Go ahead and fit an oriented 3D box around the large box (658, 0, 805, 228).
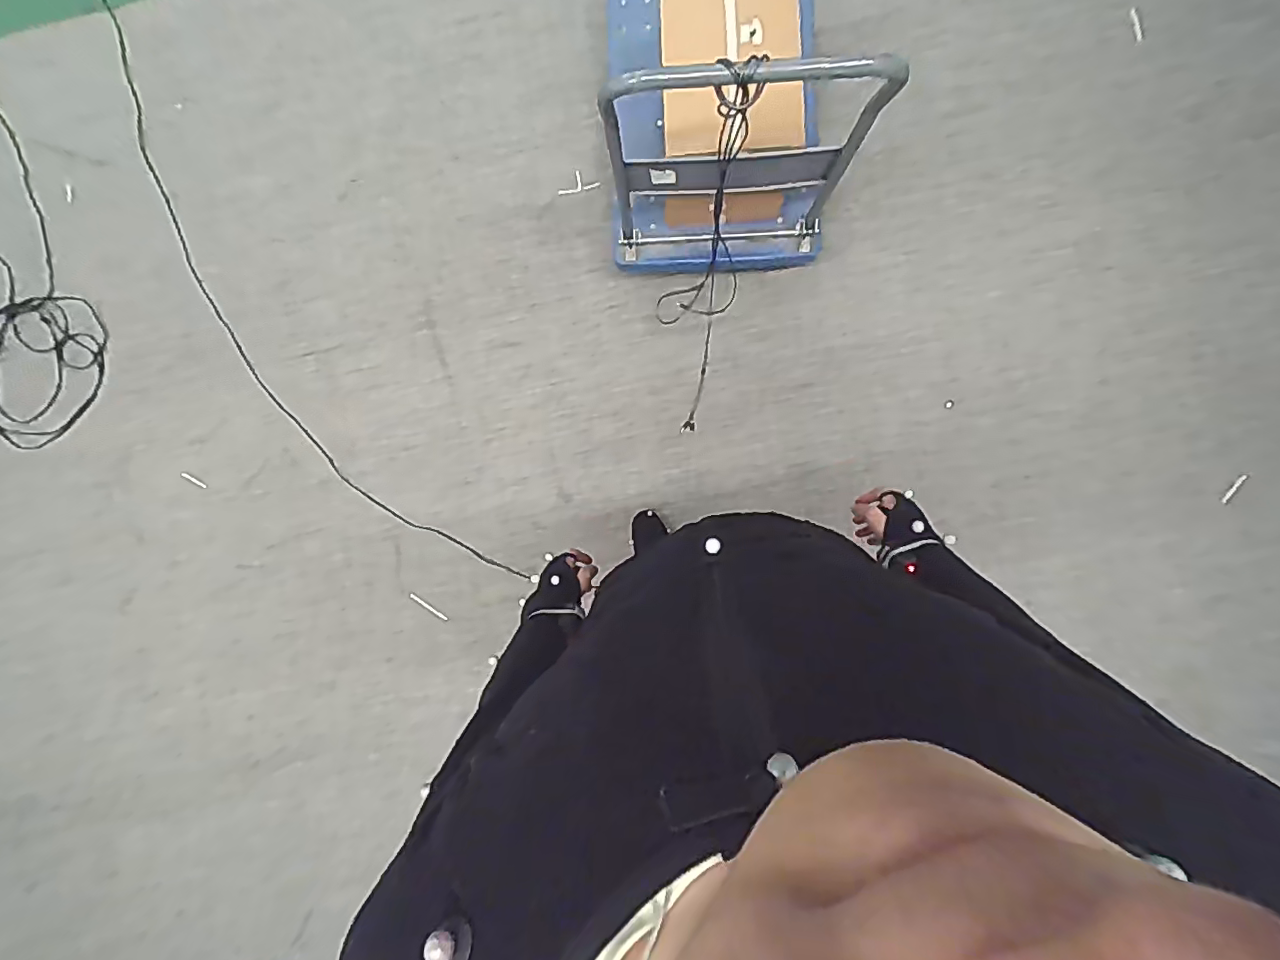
[{"bbox_3d":[0.213,-0.910,1.354,0.320,0.320,0.408,-2,87,3],"label":"large box"}]
